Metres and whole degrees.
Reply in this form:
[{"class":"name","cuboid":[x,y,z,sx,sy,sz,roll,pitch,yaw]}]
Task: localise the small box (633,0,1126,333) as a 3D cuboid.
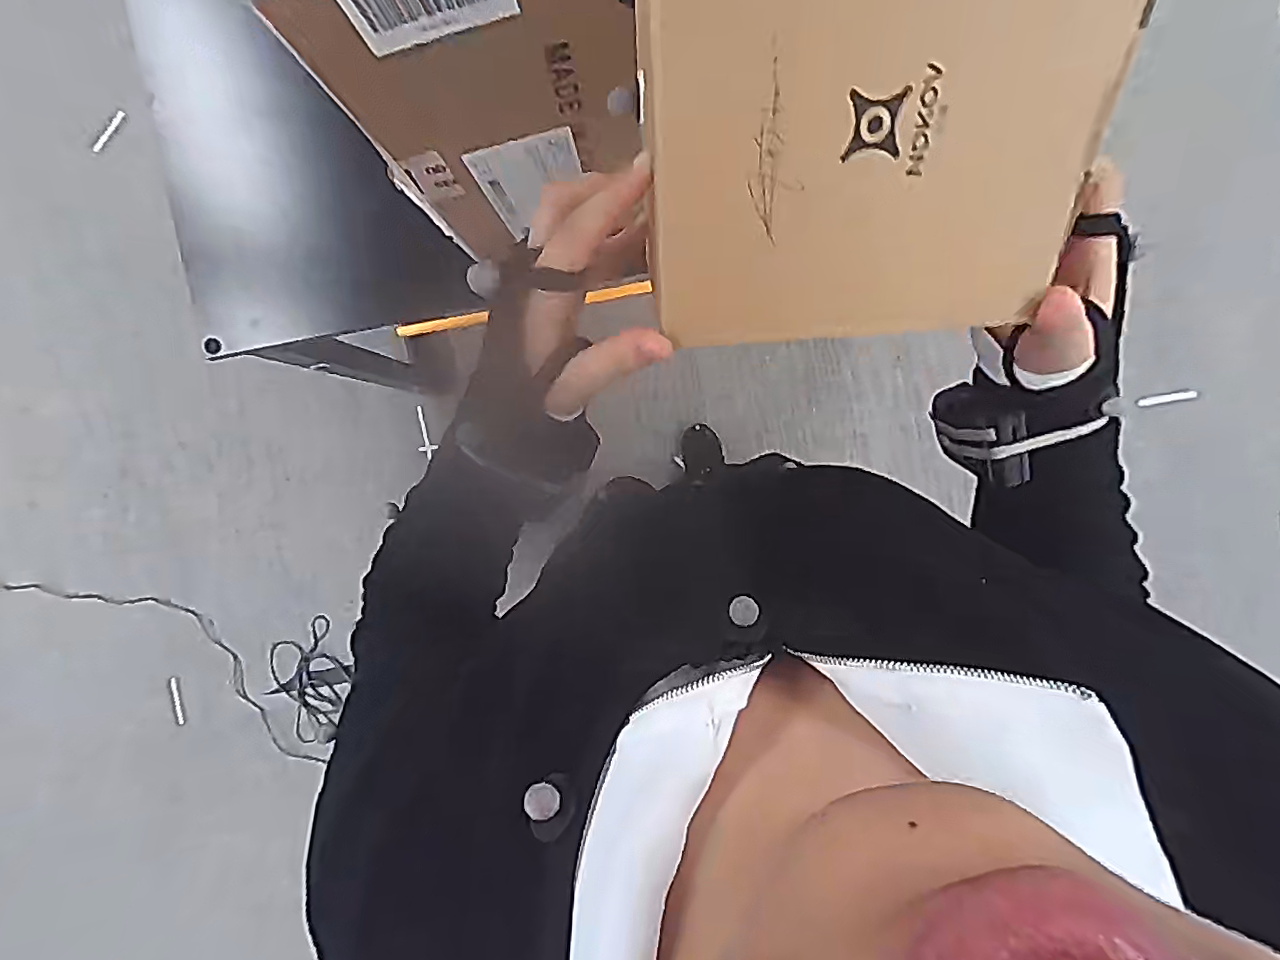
[{"class":"small box","cuboid":[0.089,-0.187,0.278,0.179,0.176,0.168,-4,123,1]}]
